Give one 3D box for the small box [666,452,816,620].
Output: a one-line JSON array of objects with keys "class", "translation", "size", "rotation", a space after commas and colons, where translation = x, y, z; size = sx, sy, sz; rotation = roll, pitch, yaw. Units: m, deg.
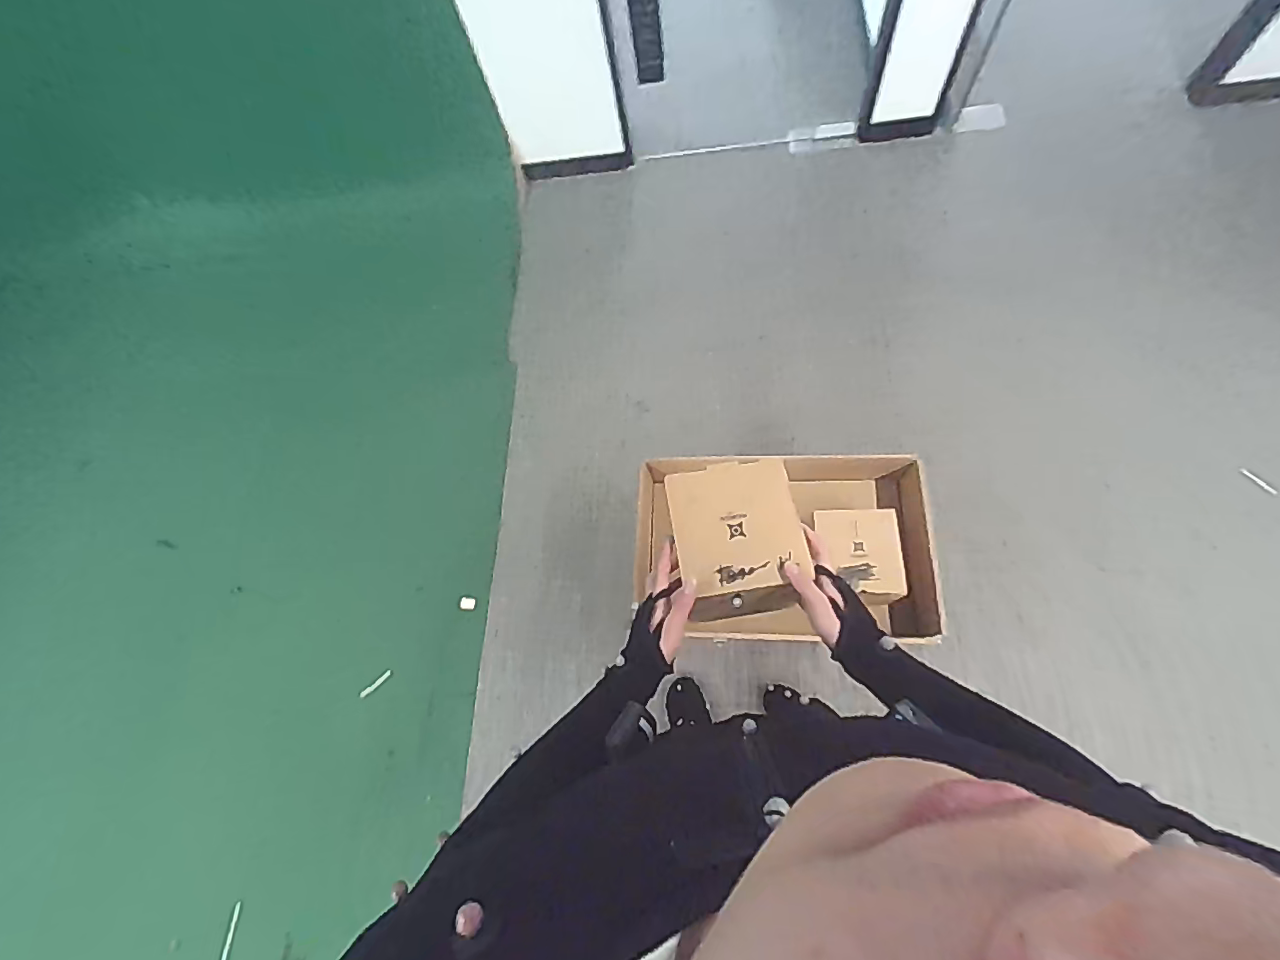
[{"class": "small box", "translation": [0.130, 0.085, 0.767], "size": [0.168, 0.176, 0.179], "rotation": [-9, 63, 1]}]
